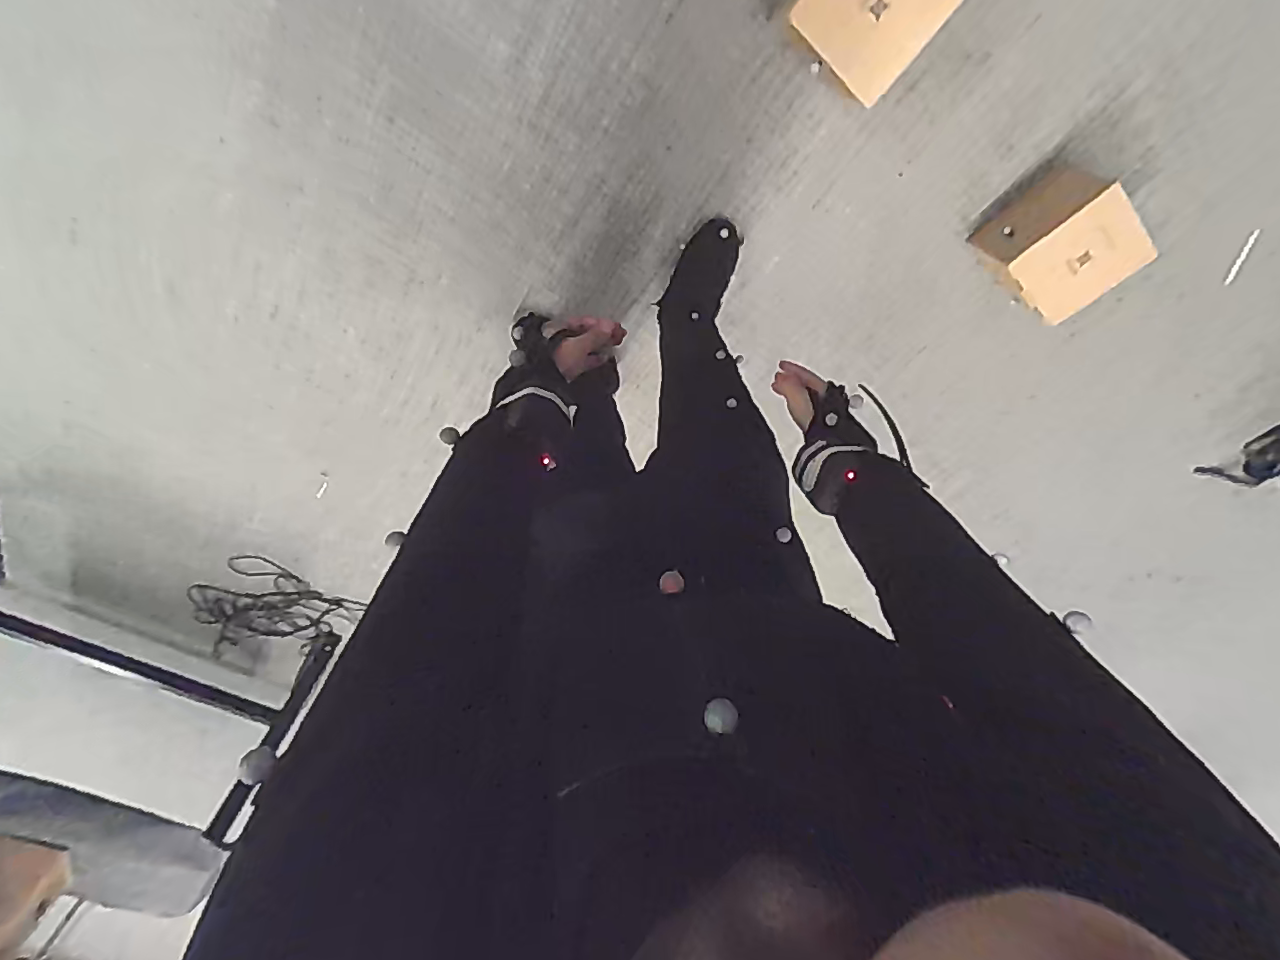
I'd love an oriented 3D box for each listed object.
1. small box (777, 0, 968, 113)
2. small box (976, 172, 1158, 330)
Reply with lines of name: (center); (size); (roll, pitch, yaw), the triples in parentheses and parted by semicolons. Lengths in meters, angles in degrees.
small box: (0.324, -0.680, 0.787); (0.179, 0.176, 0.168); (34, 123, -18)
small box: (0.736, -0.407, 0.958); (0.168, 0.176, 0.179); (36, 121, -22)
